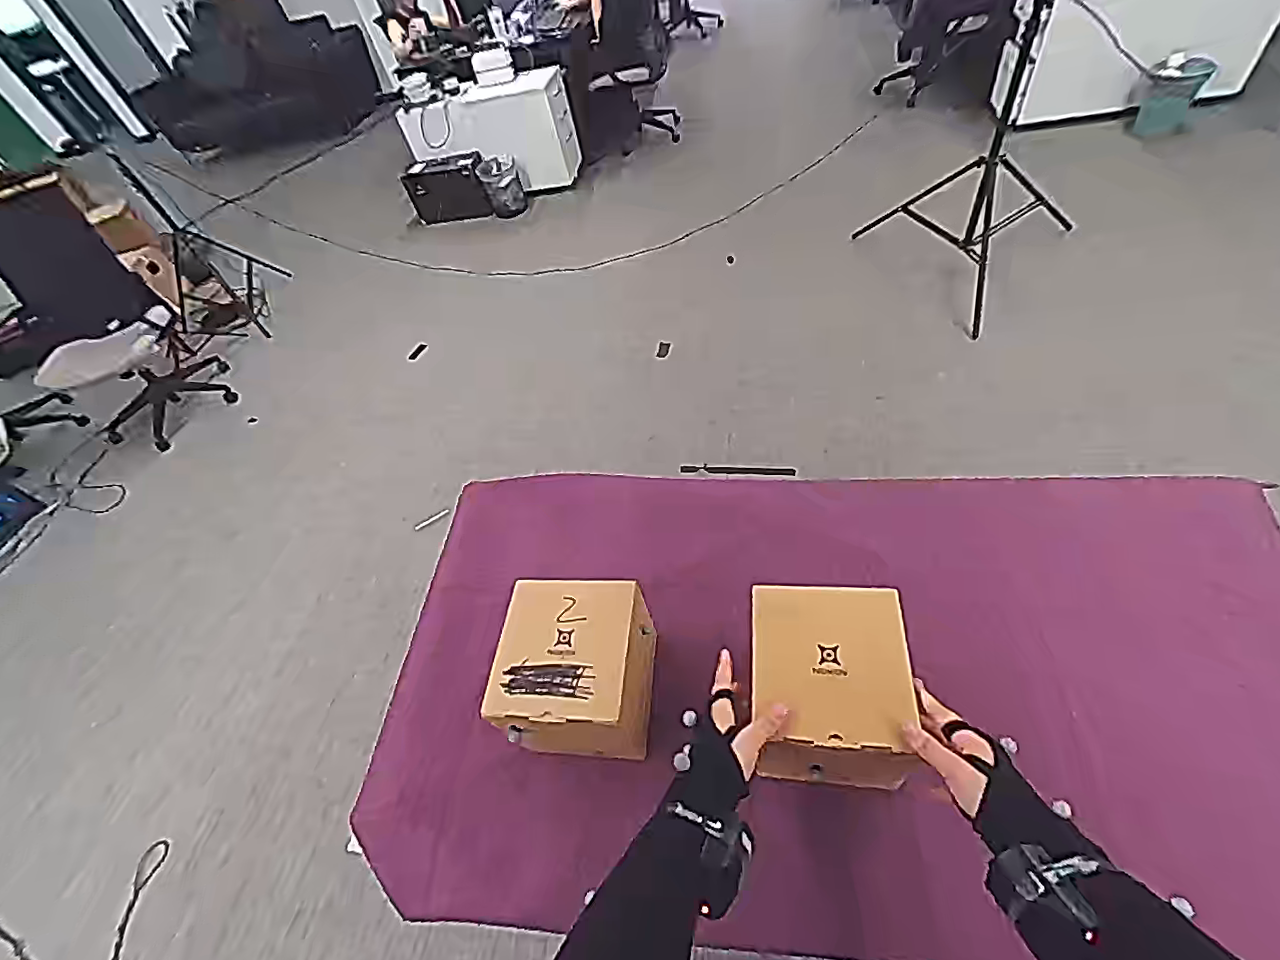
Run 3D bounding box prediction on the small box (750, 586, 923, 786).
[{"bbox_3d":[0.217,0.246,0.648,0.168,0.176,0.179,-1,51,13],"label":"small box"}]
